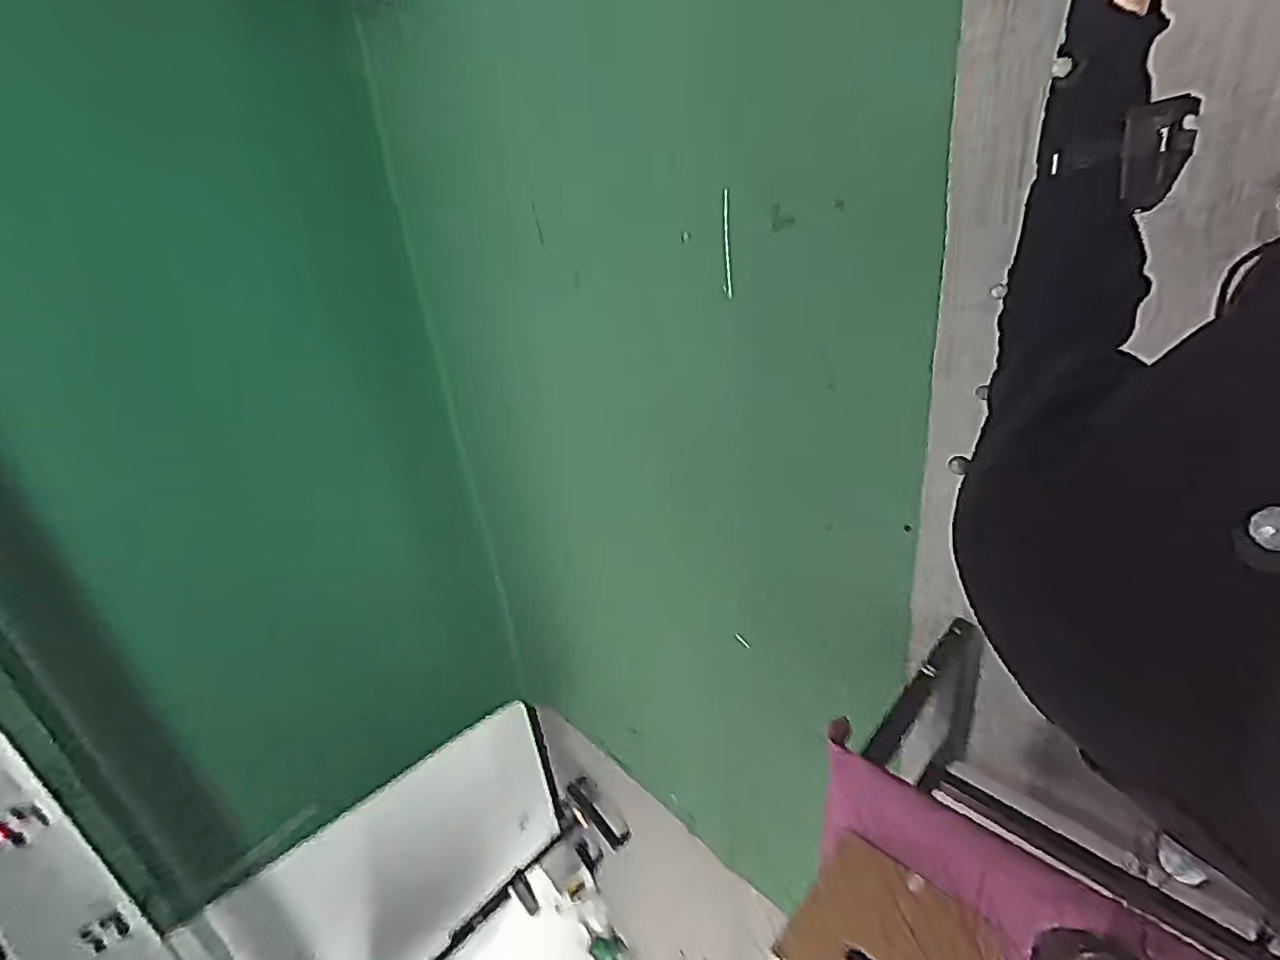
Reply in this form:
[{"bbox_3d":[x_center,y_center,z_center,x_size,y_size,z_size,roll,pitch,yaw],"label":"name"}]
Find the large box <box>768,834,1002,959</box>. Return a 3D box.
[{"bbox_3d":[0.471,1.033,1.063,0.320,0.320,0.408,15,120,43],"label":"large box"}]
